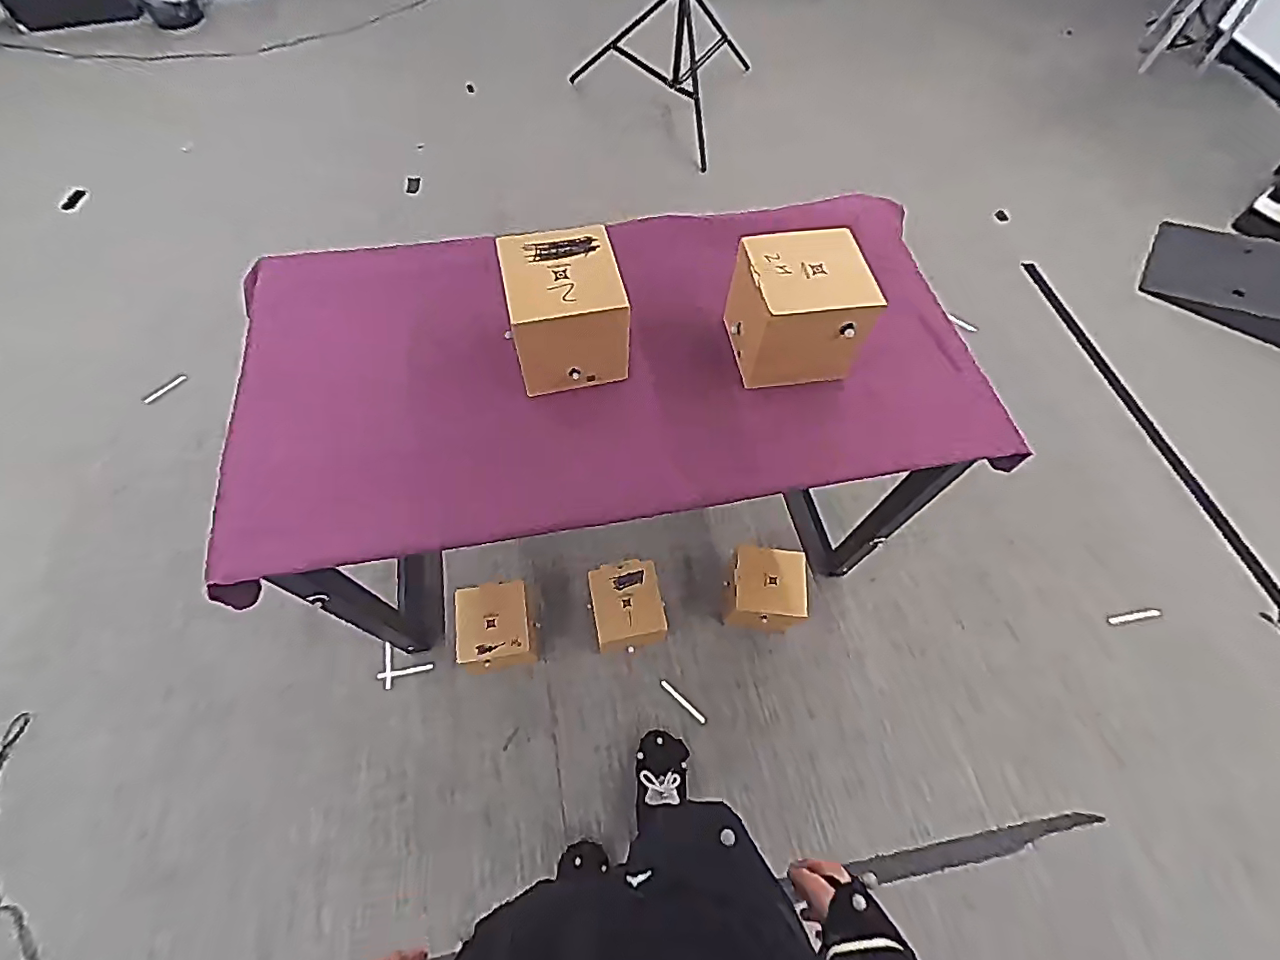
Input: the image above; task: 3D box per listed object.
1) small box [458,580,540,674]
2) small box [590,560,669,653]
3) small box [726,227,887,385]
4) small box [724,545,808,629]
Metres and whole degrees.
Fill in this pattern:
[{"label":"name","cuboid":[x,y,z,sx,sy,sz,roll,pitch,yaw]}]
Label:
[{"label":"small box","cuboid":[-0.343,0.364,1.331,0.168,0.176,0.179,-7,62,-6]},{"label":"small box","cuboid":[-0.031,0.322,1.363,0.168,0.176,0.179,-10,64,-7]},{"label":"small box","cuboid":[0.250,-0.270,0.859,0.179,0.176,0.168,-8,62,-5]},{"label":"small box","cuboid":[0.322,0.281,1.398,0.179,0.176,0.168,6,63,2]}]
